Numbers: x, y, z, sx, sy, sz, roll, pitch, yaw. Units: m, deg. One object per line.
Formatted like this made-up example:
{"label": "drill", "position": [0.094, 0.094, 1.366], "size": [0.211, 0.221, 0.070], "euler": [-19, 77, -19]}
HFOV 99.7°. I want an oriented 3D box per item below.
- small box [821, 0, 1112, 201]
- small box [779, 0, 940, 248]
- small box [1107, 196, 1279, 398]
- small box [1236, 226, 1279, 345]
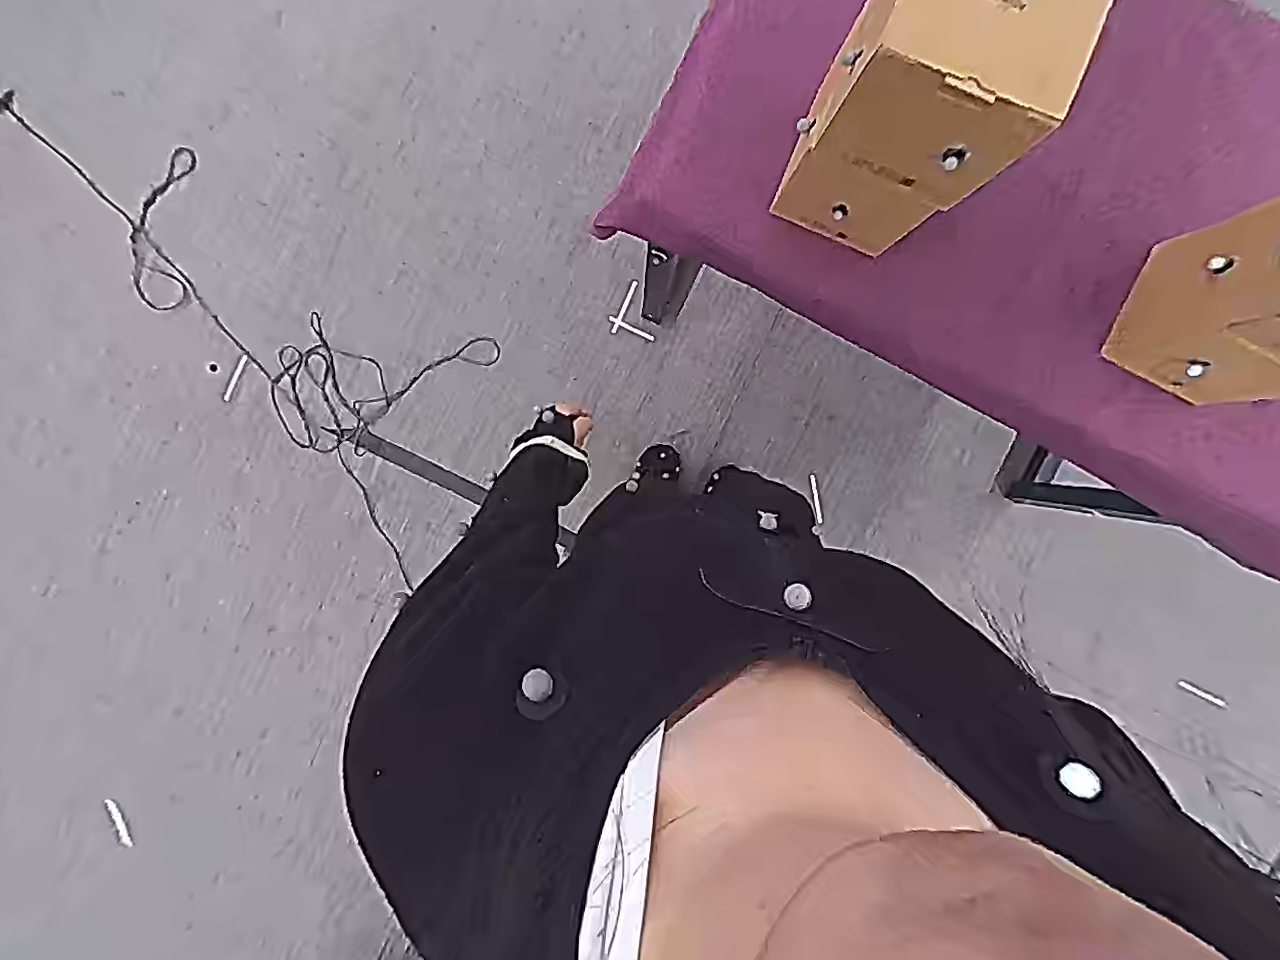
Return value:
{"label": "small box", "position": [0.293, -0.402, 0.509], "size": [0.168, 0.176, 0.179], "euler": [20, 92, -3]}
{"label": "small box", "position": [0.290, -0.420, 0.671], "size": [0.168, 0.176, 0.179], "euler": [22, 92, -3]}
{"label": "small box", "position": [0.768, -0.219, 0.697], "size": [0.168, 0.176, 0.179], "euler": [26, 92, -2]}
{"label": "small box", "position": [0.774, -0.213, 0.533], "size": [0.168, 0.176, 0.179], "euler": [27, 93, -2]}
